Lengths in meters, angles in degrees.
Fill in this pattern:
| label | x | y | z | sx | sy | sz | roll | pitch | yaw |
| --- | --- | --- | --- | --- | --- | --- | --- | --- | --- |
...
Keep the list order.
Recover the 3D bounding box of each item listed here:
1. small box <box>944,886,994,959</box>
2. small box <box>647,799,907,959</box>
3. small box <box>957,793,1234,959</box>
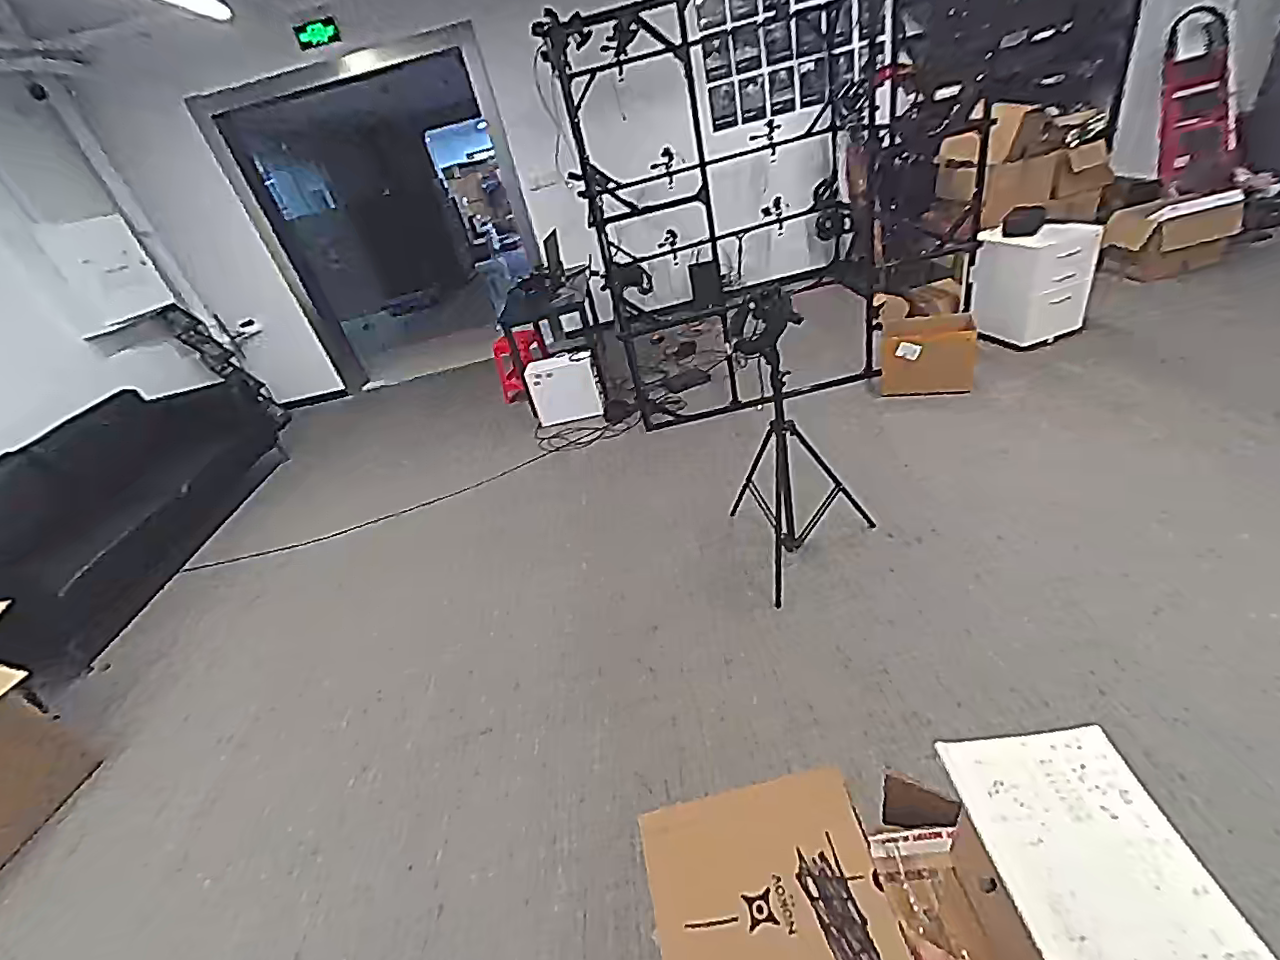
| label | x | y | z | sx | sy | sz | roll | pitch | yaw |
| --- | --- | --- | --- | --- | --- | --- | --- | --- | --- |
| small box | 0.528 | 0.638 | 0.701 | 0.179 | 0.176 | 0.168 | -13 | 33 | 1 |
| small box | 0.114 | 0.397 | 0.461 | 0.179 | 0.176 | 0.168 | -14 | 48 | 0 |
| small box | 0.495 | 0.500 | 0.620 | 0.168 | 0.176 | 0.179 | -11 | 33 | 3 |
